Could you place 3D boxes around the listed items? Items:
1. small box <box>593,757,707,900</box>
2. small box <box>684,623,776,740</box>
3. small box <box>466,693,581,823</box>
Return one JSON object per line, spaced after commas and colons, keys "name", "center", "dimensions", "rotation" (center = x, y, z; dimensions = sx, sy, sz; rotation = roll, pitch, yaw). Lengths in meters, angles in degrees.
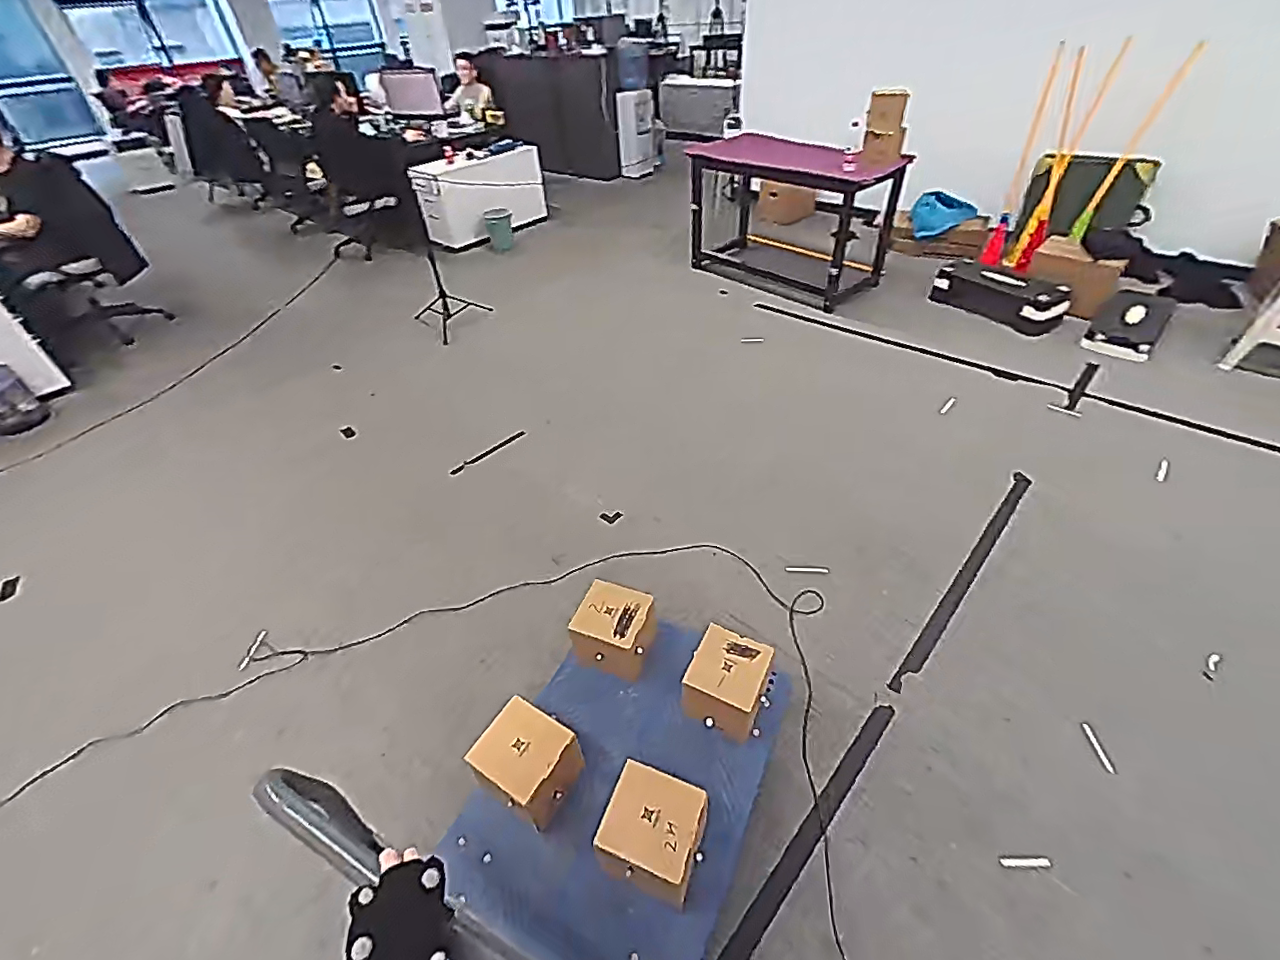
{"name": "small box", "center": [0.026, 0.700, 1.084], "dimensions": [0.179, 0.176, 0.168], "rotation": [14, 45, 20]}
{"name": "small box", "center": [0.214, 0.486, 1.307], "dimensions": [0.168, 0.176, 0.179], "rotation": [18, 47, 23]}
{"name": "small box", "center": [-0.249, 0.618, 1.199], "dimensions": [0.179, 0.176, 0.168], "rotation": [22, 47, 24]}
